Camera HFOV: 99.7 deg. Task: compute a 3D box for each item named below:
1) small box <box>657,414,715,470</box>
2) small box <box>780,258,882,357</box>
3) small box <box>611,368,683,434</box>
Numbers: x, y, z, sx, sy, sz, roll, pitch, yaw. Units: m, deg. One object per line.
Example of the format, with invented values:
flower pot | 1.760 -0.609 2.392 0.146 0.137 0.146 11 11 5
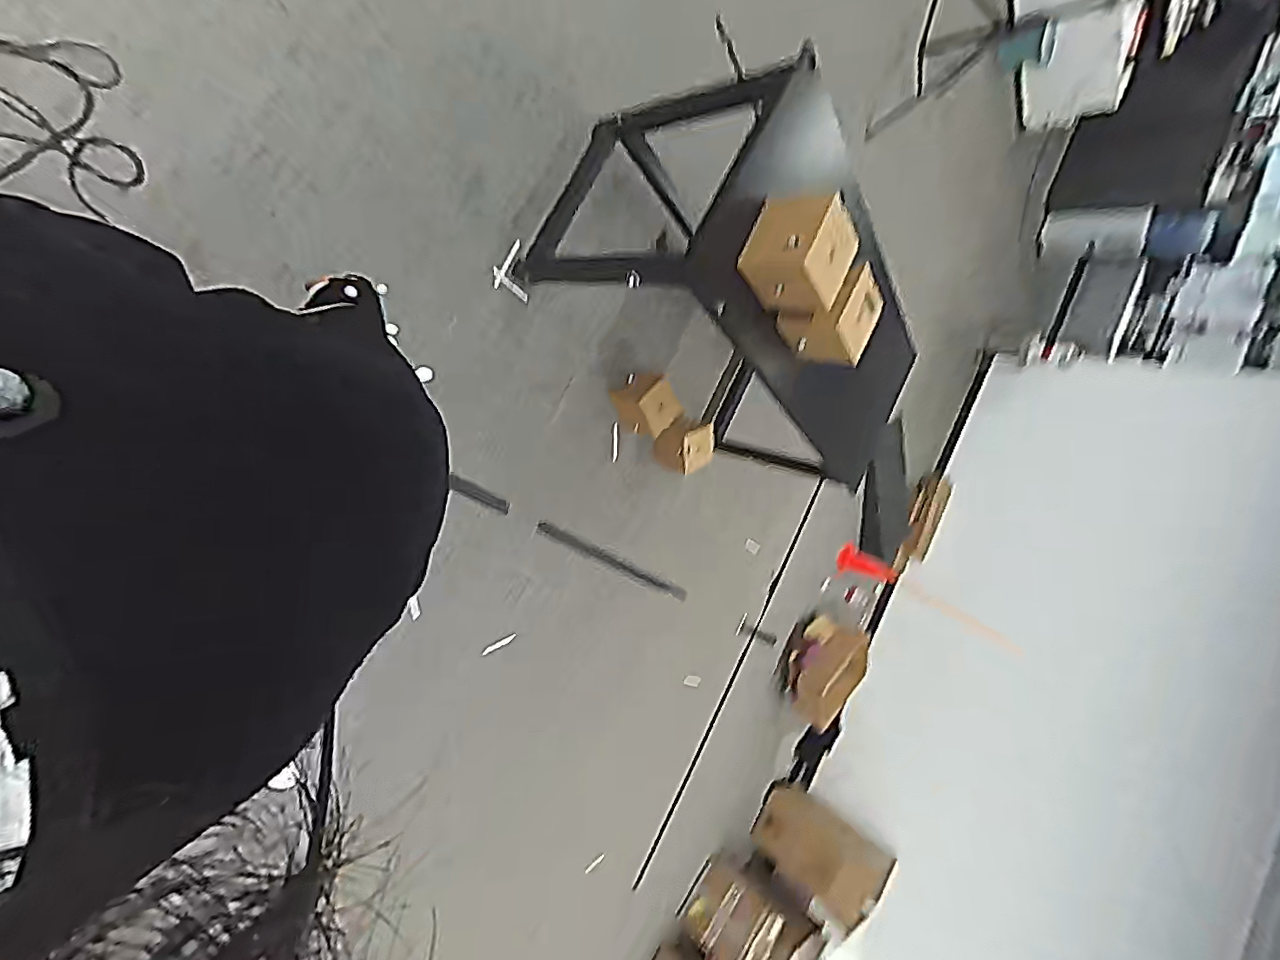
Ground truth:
small box | 0.190 -0.164 2.240 0.179 0.176 0.168 -27 122 -36
small box | 0.481 -0.436 1.366 0.168 0.176 0.179 34 80 -46
small box | 0.025 -0.303 2.027 0.168 0.176 0.179 -48 132 -22
